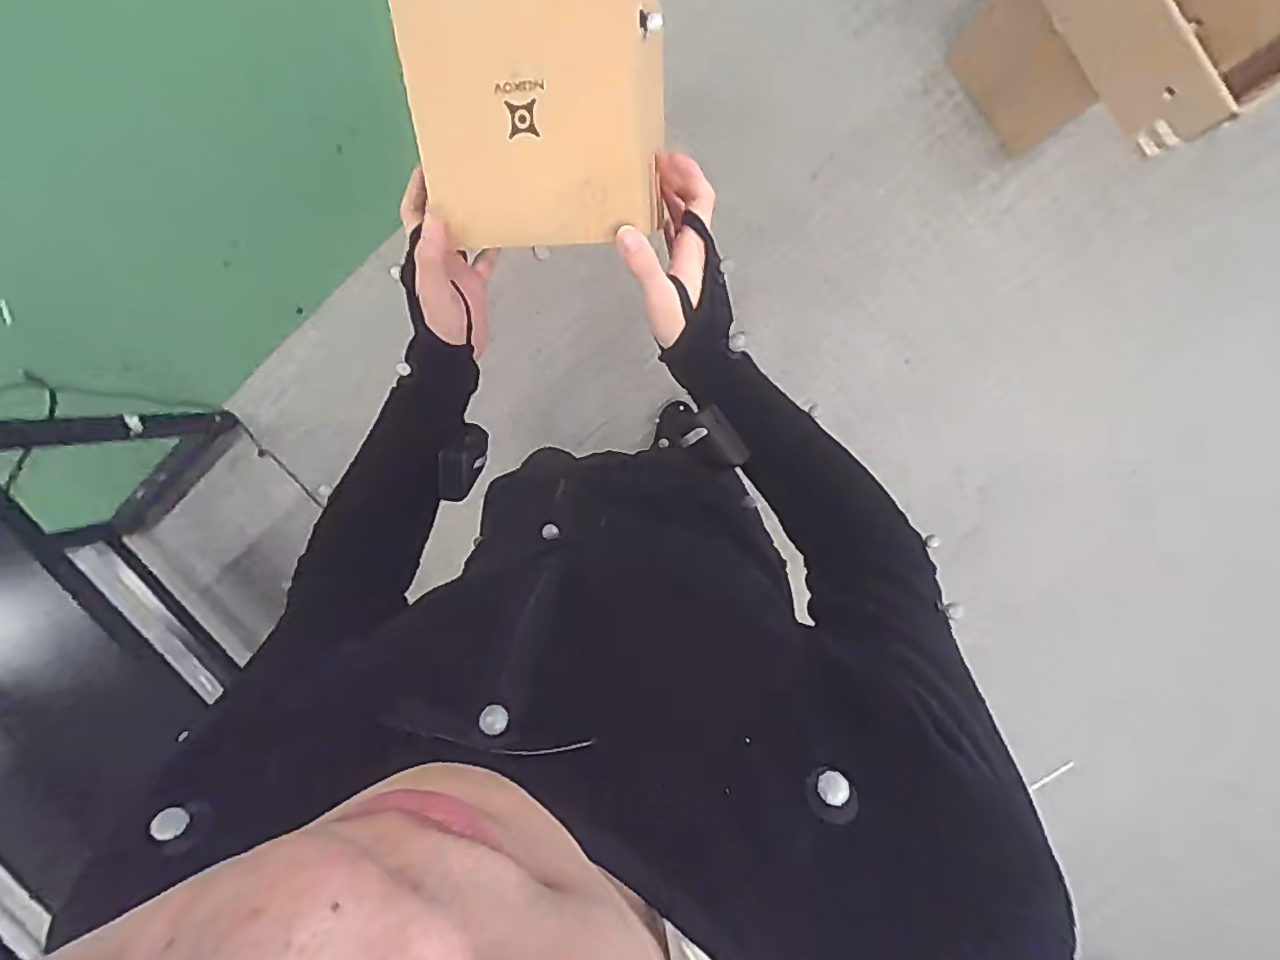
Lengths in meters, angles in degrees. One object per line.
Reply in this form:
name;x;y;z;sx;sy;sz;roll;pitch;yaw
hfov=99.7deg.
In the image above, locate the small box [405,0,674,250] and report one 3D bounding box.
small box;-0.061;-0.293;0.447;0.168;0.176;0.179;2;117;9
